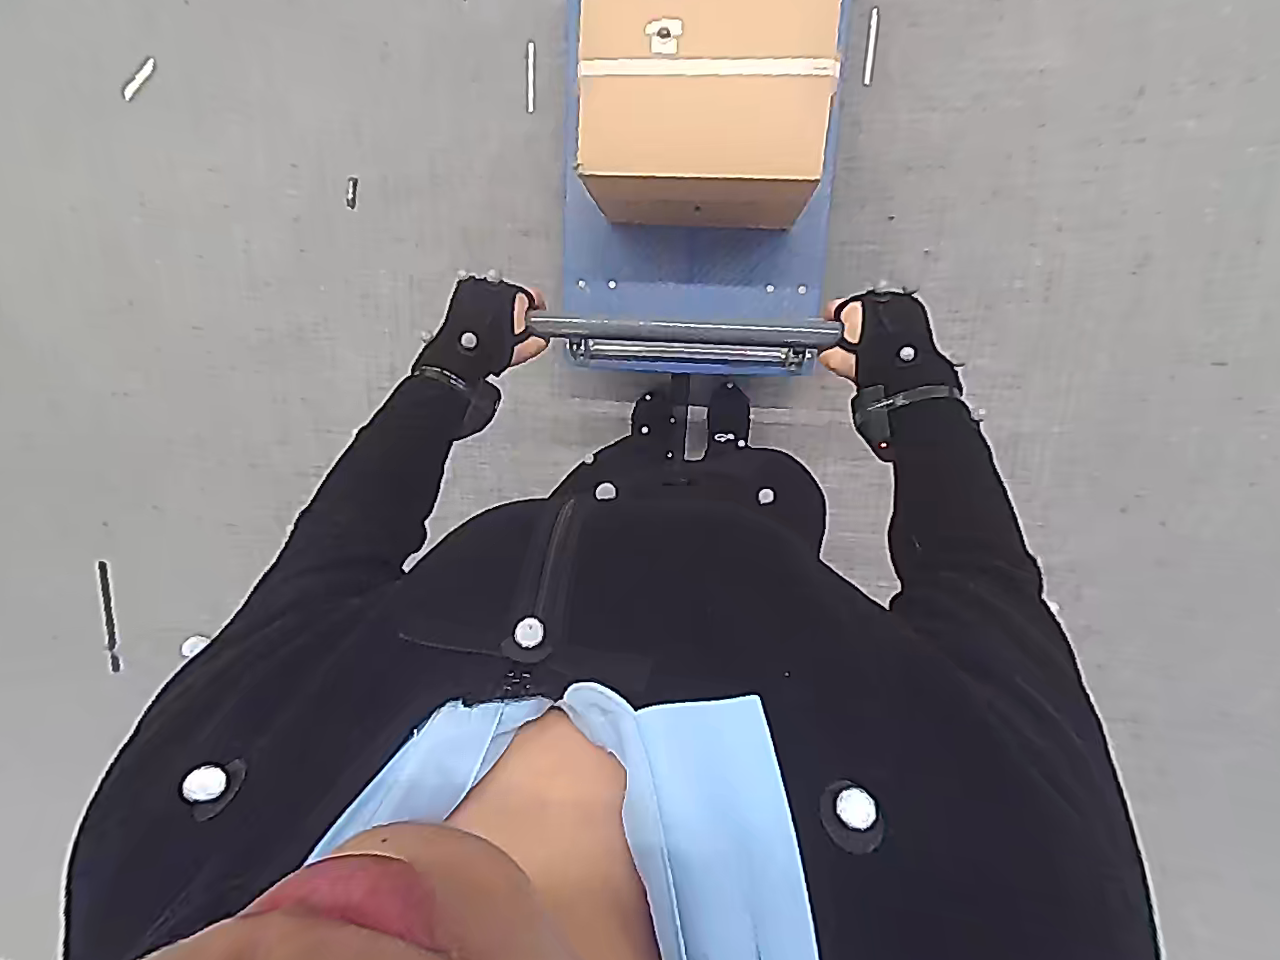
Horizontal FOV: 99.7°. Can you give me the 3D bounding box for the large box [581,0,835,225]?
[{"bbox_3d":[0.121,-0.682,1.021,0.408,0.320,0.320,4,101,7],"label":"large box"}]
